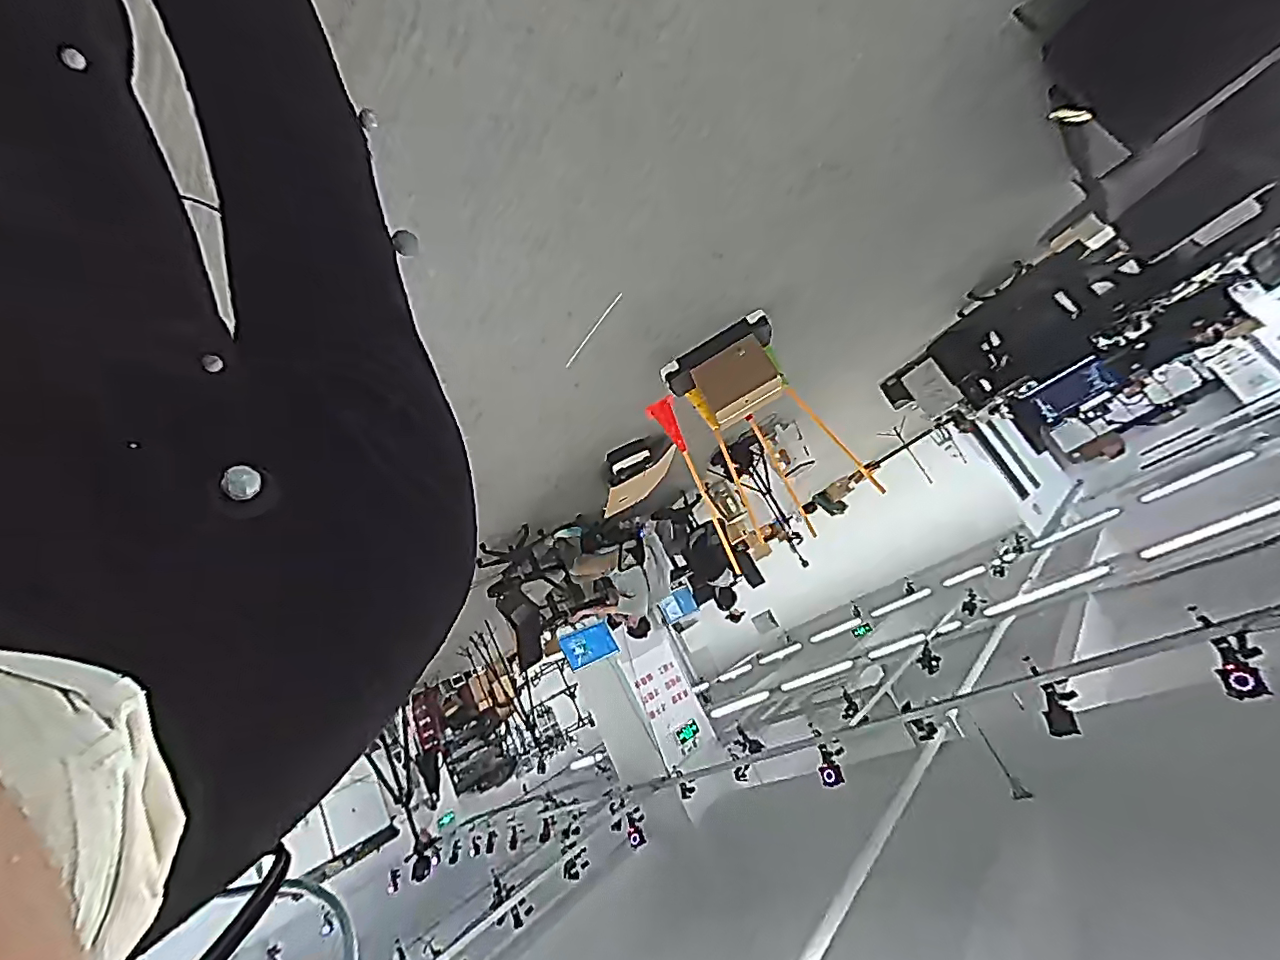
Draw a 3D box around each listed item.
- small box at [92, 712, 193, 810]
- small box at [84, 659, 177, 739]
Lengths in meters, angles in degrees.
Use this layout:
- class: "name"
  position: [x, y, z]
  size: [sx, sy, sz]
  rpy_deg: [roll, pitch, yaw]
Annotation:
- class: "small box"
  position: [-1.353, 0.760, 1.473]
  size: [0.179, 0.176, 0.168]
  rpy_deg: [-11, 156, -46]
- class: "small box"
  position: [-1.430, 0.624, 1.519]
  size: [0.168, 0.176, 0.179]
  rpy_deg: [-11, 158, -46]
